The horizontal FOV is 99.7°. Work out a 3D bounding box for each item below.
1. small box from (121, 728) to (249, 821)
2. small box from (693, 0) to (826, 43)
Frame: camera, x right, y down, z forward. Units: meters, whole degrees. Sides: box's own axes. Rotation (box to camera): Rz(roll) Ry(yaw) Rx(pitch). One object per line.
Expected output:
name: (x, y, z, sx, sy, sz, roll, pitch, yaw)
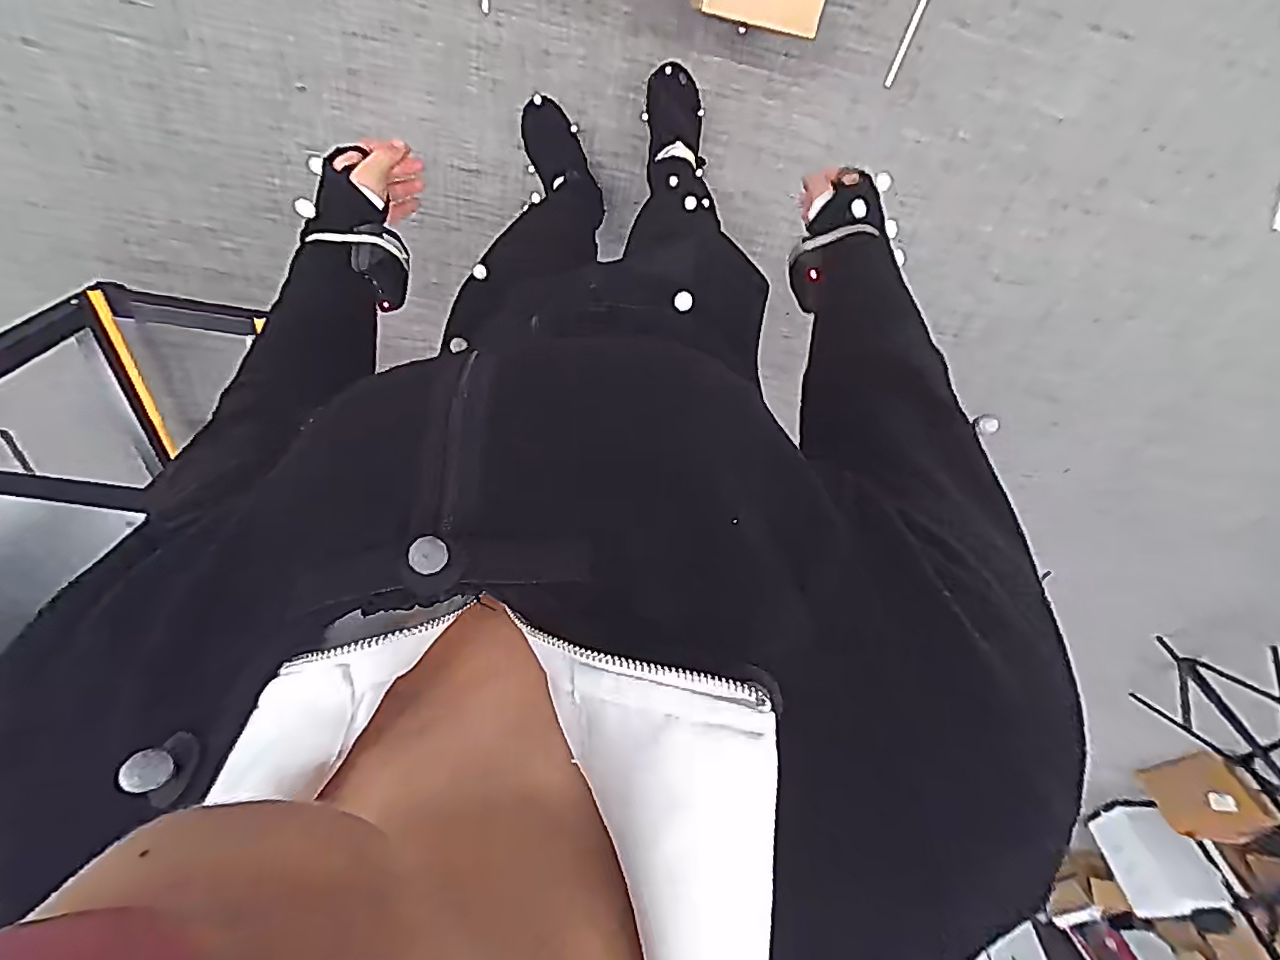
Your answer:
small box: (-1.177, 0.767, 1.415, 0.179, 0.176, 0.168, 9, 133, -9)
small box: (0.182, -0.765, 0.788, 0.179, 0.176, 0.168, 7, 132, -8)
